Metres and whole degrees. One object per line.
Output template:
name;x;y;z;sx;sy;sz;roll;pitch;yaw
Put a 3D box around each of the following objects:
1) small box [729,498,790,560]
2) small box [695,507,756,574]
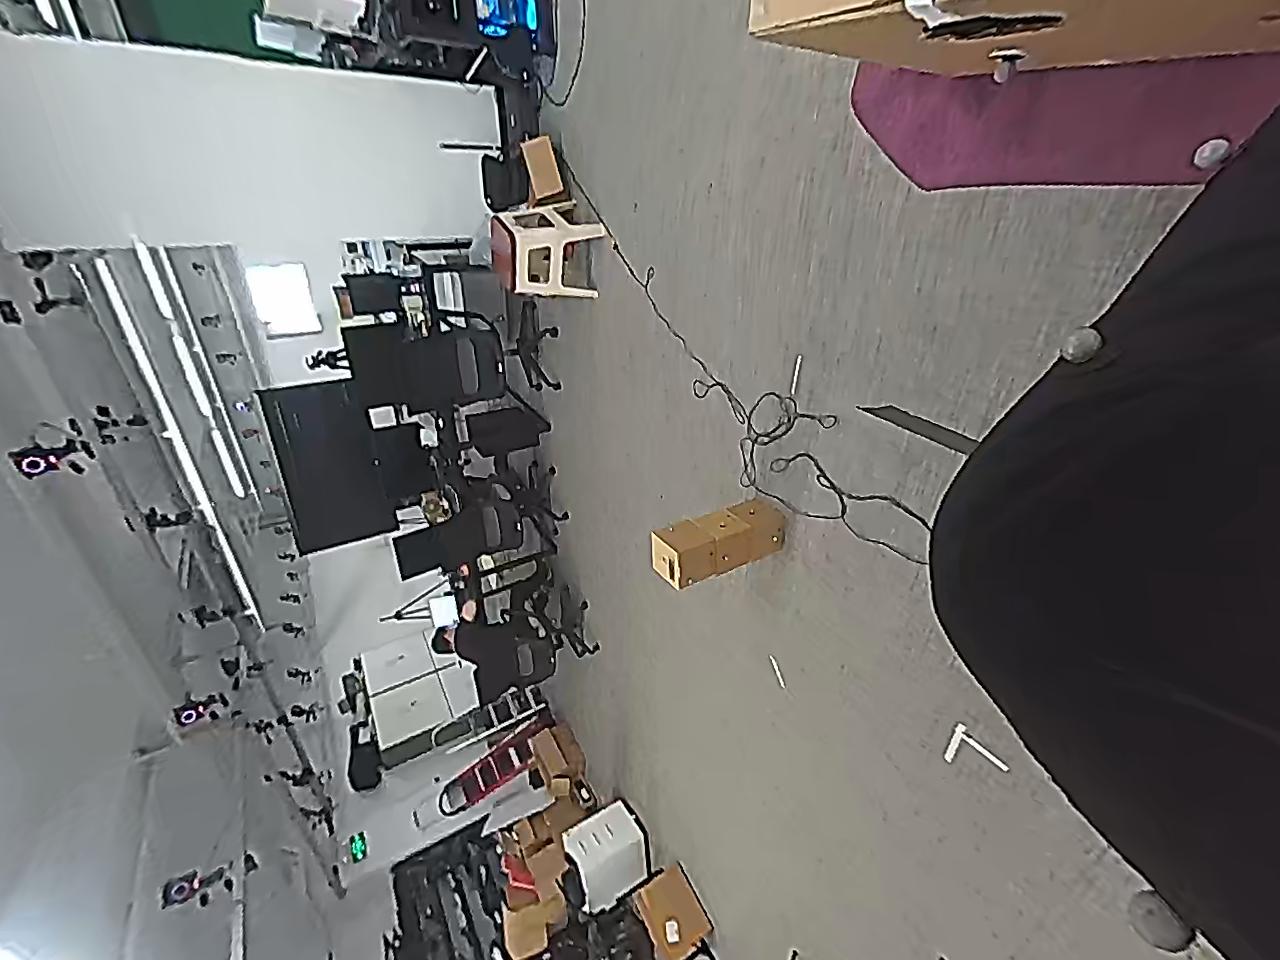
small box;0.467;0.187;2.149;0.179;0.176;0.168;33;134;51
small box;0.328;0.224;2.075;0.168;0.176;0.179;36;136;50
